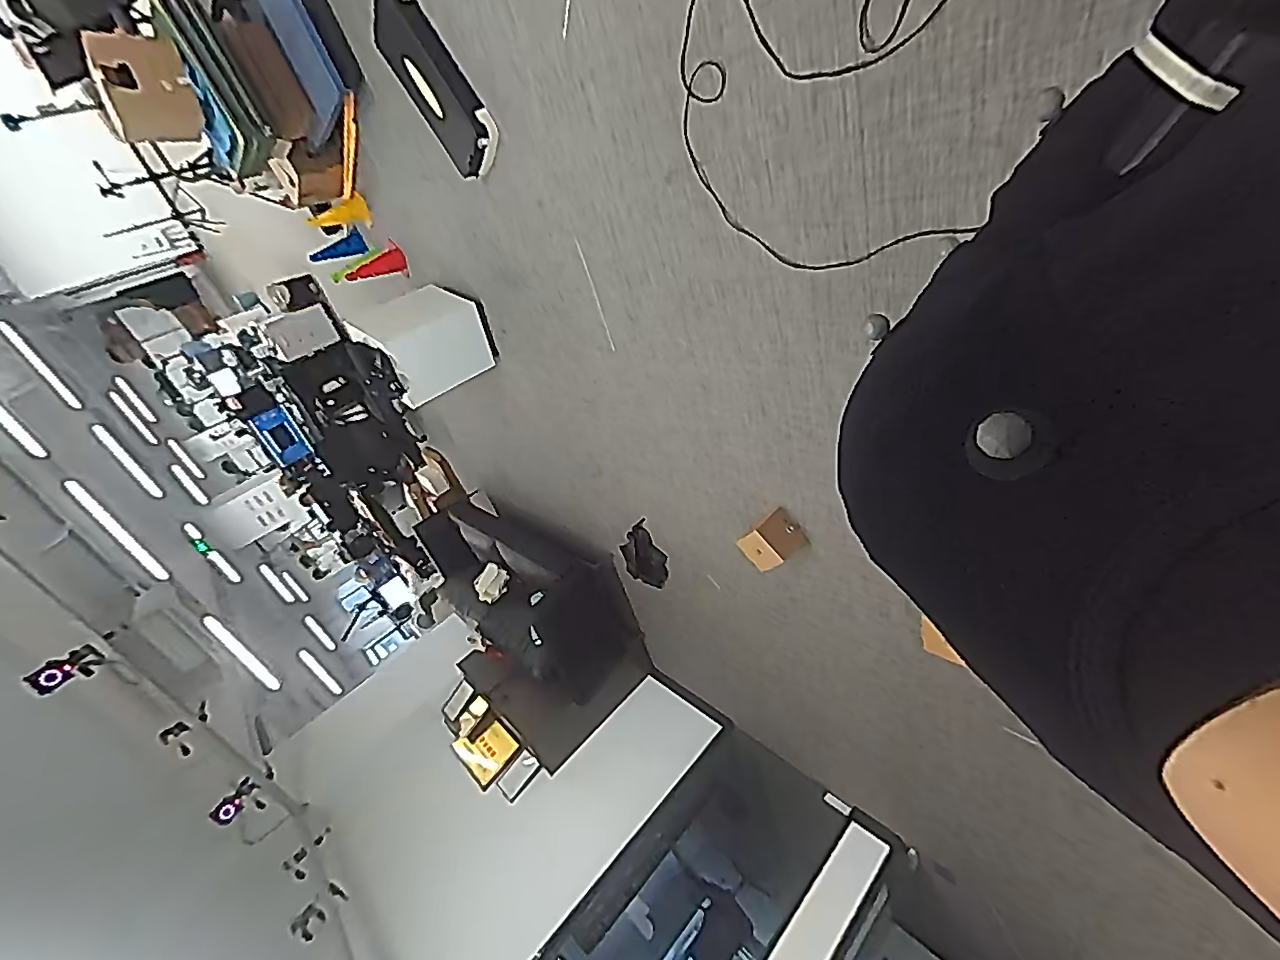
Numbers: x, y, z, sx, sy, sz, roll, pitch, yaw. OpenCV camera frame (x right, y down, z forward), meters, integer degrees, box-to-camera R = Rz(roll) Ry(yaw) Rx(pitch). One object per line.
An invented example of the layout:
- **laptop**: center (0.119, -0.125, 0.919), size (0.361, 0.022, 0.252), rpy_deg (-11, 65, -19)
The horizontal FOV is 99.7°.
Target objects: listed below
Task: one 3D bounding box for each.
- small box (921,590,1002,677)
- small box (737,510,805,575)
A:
- **small box**: center (1.018, 0.476, 1.706), size (0.179, 0.176, 0.168), rpy_deg (17, 136, 48)
- **small box**: center (0.530, 0.252, 2.181), size (0.168, 0.176, 0.179), rpy_deg (48, 151, 6)
